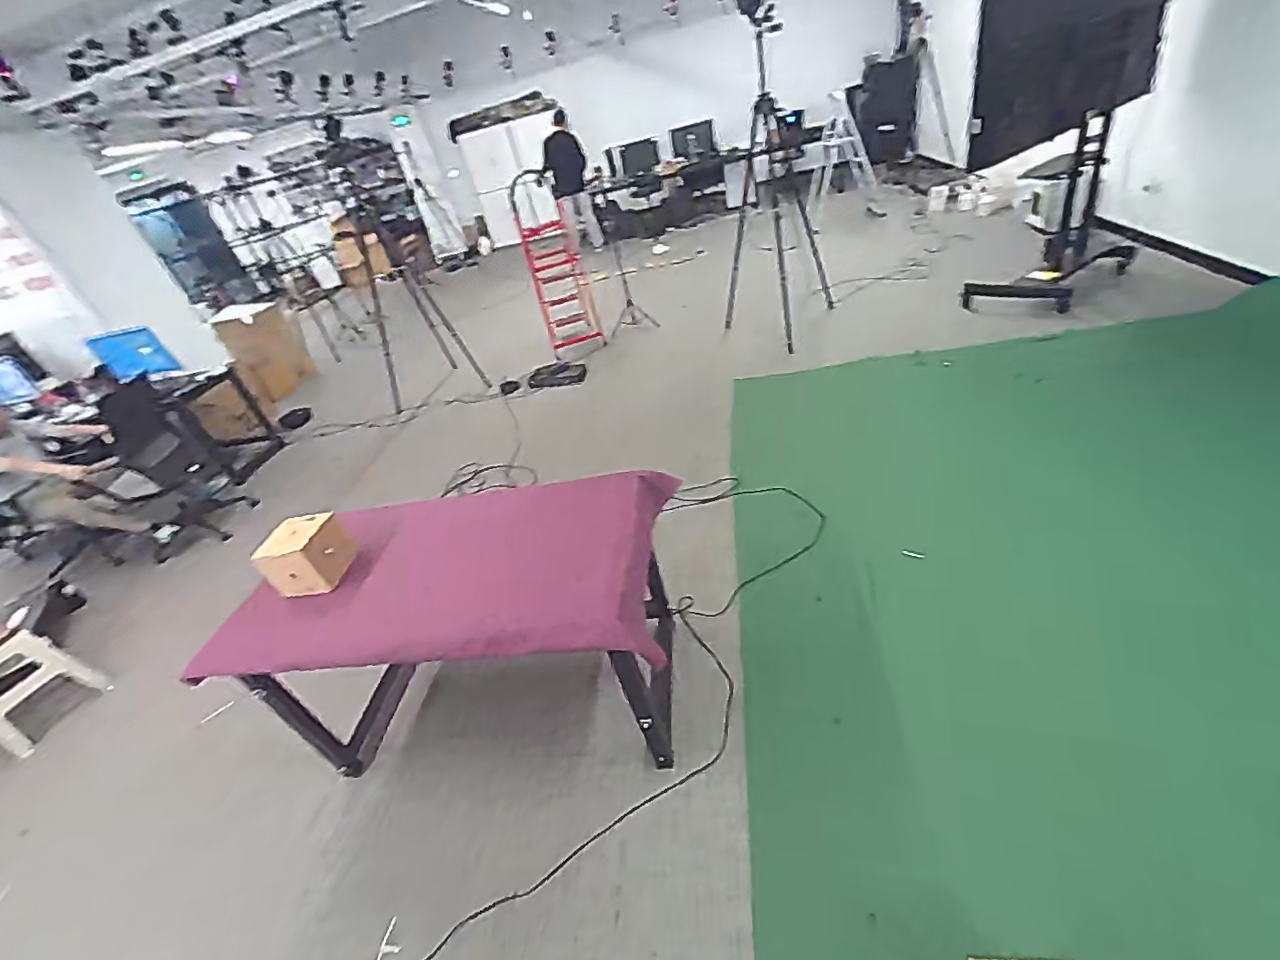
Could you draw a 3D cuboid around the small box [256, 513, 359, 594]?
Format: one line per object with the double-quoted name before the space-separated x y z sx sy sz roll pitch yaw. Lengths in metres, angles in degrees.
"small box" -0.985 0.227 1.623 0.168 0.176 0.179 -8 35 10
